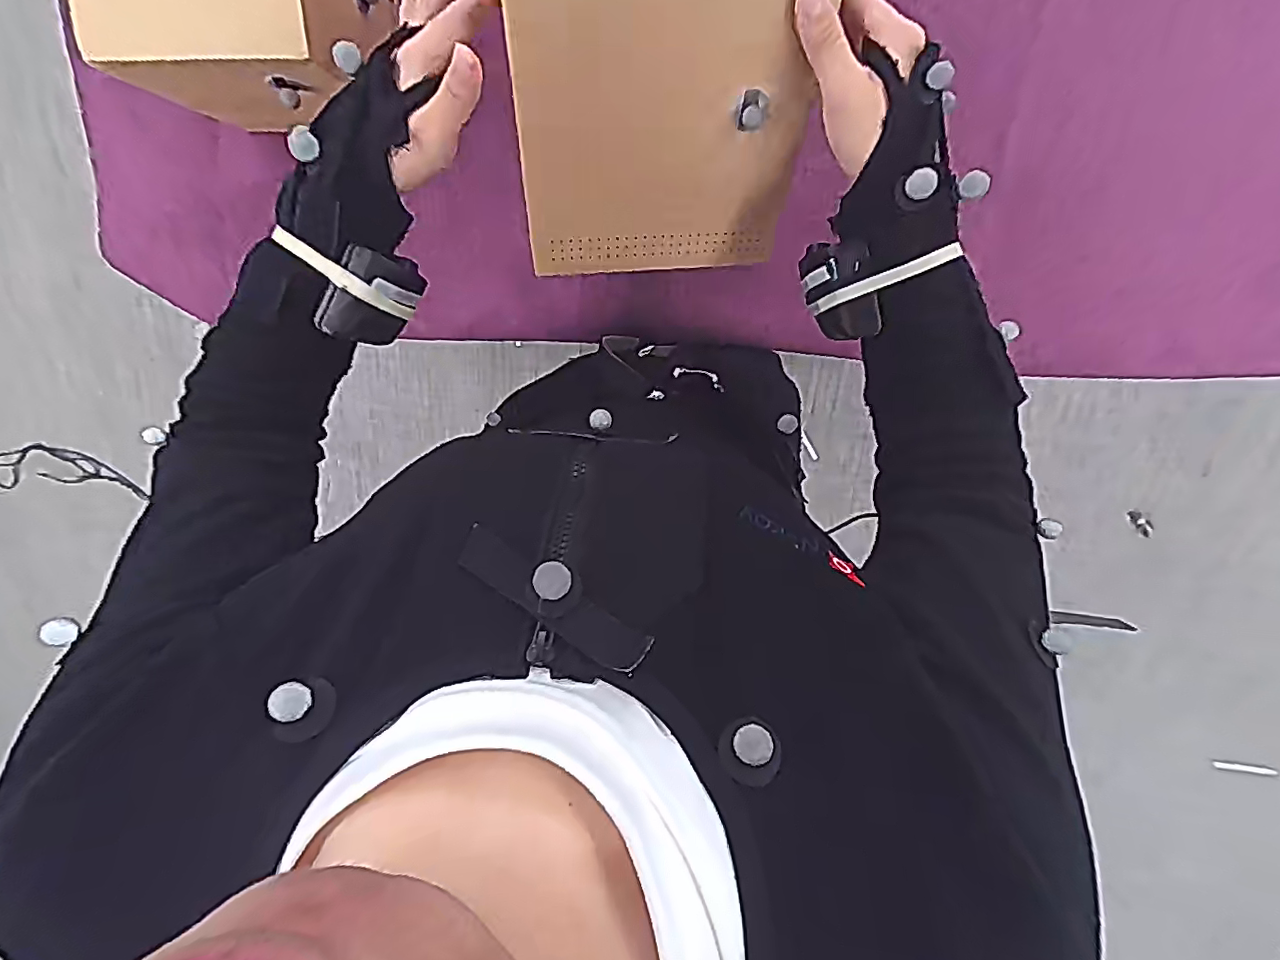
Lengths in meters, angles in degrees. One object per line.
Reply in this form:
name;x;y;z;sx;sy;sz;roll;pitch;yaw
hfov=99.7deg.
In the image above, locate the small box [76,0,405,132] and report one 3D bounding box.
small box;-0.314;-0.408;0.447;0.179;0.176;0.168;2;107;3
